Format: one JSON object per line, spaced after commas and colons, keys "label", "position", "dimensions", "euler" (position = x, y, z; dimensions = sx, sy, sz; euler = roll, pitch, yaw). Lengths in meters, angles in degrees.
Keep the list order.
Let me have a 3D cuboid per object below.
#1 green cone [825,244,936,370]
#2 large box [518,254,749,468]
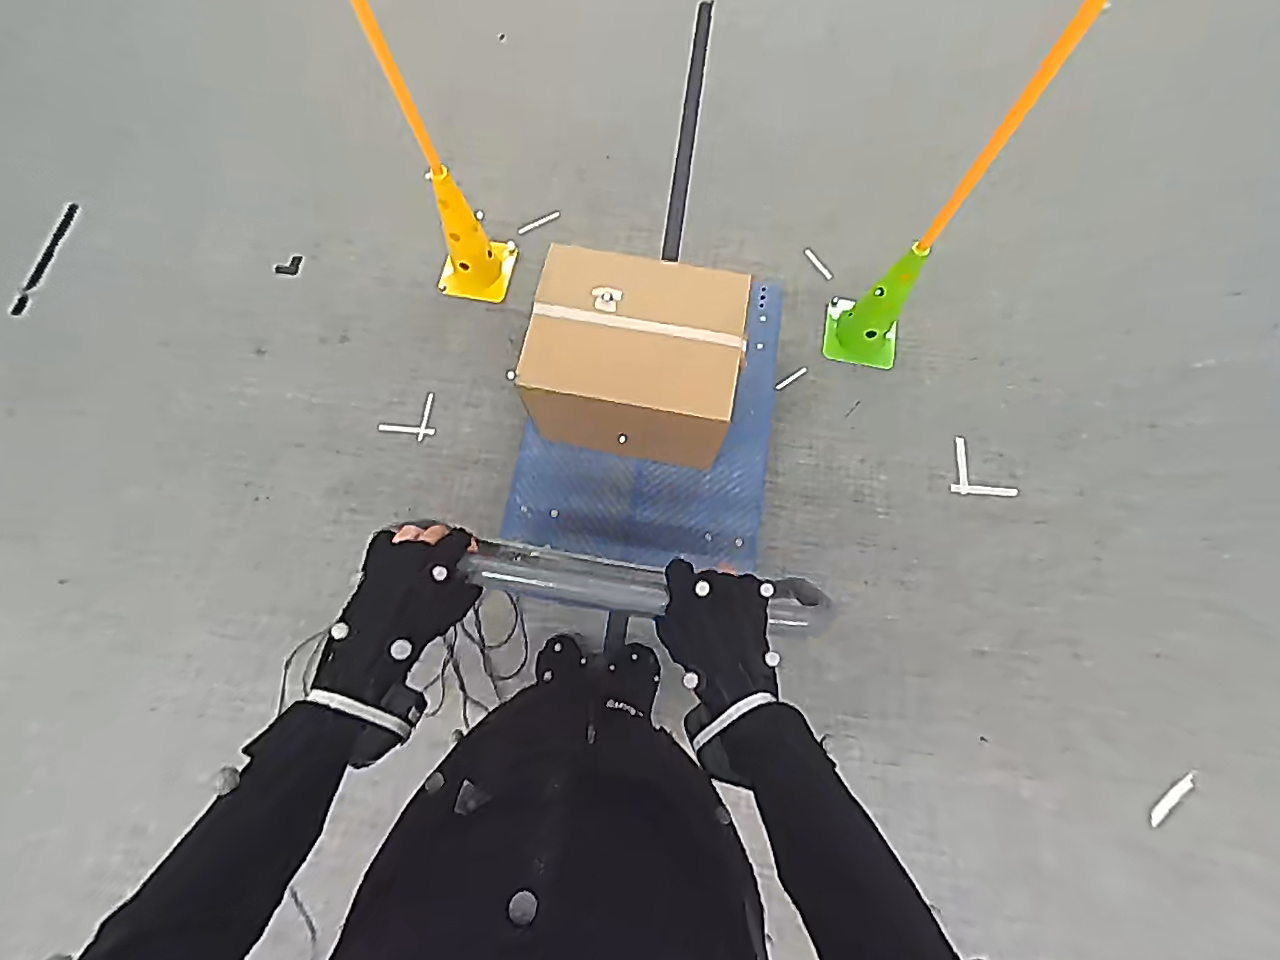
{"label": "green cone", "position": [0.642, -0.467, 1.395], "dimensions": [0.202, 0.368, 0.200], "euler": [11, 74, 2]}
{"label": "large box", "position": [-0.003, -0.238, 1.174], "dimensions": [0.408, 0.320, 0.320], "euler": [11, 74, 3]}
